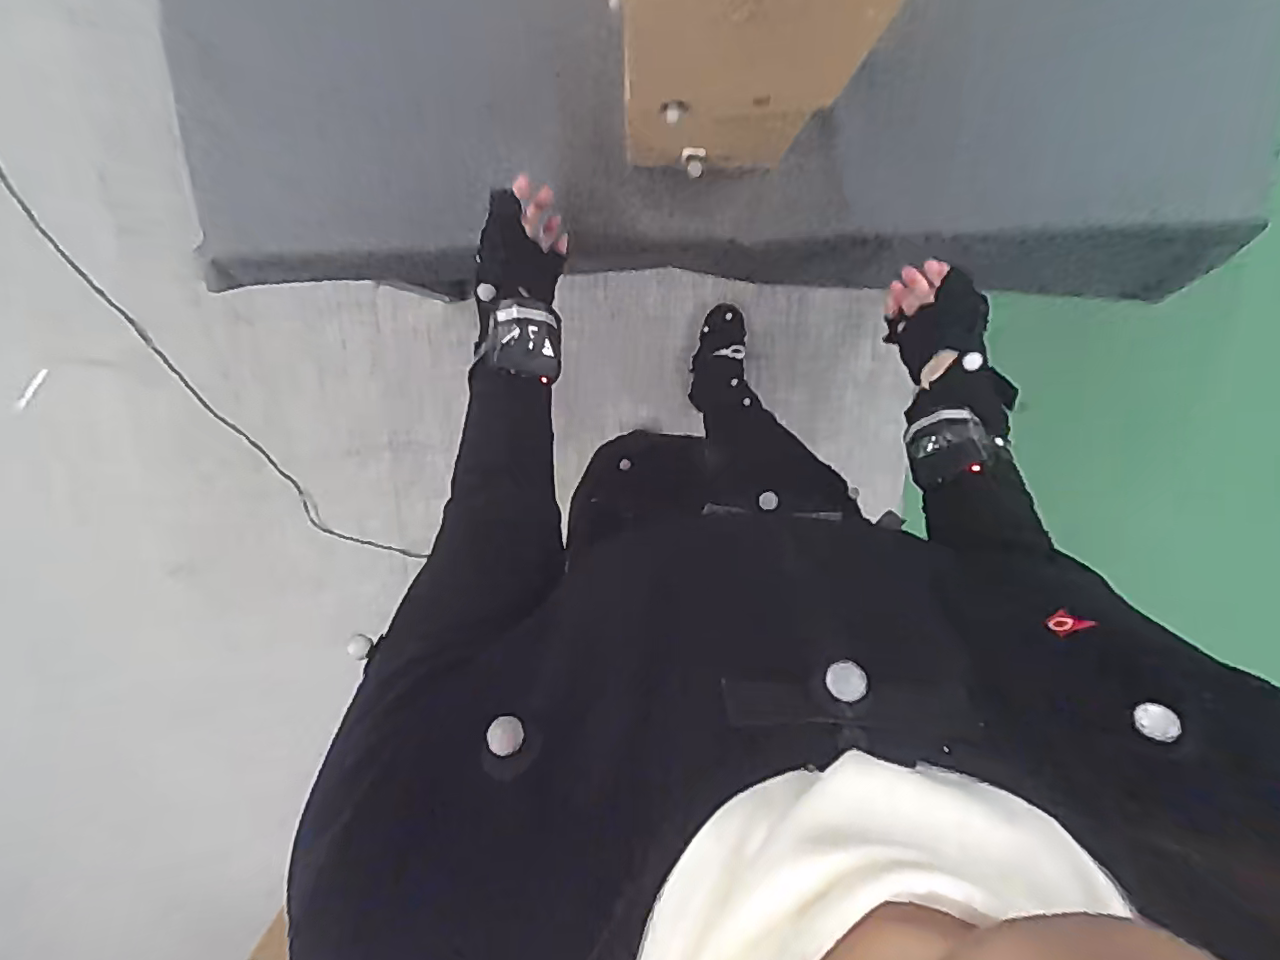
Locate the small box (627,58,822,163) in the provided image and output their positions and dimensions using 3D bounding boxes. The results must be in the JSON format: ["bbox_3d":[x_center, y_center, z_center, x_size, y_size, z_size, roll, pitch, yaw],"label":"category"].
[{"bbox_3d":[0.071,-0.425,0.510,0.168,0.176,0.179,0,104,1],"label":"small box"}]

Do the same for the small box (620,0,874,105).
[{"bbox_3d":[0.065,-0.377,0.353,0.168,0.176,0.179,-7,103,3],"label":"small box"}]
